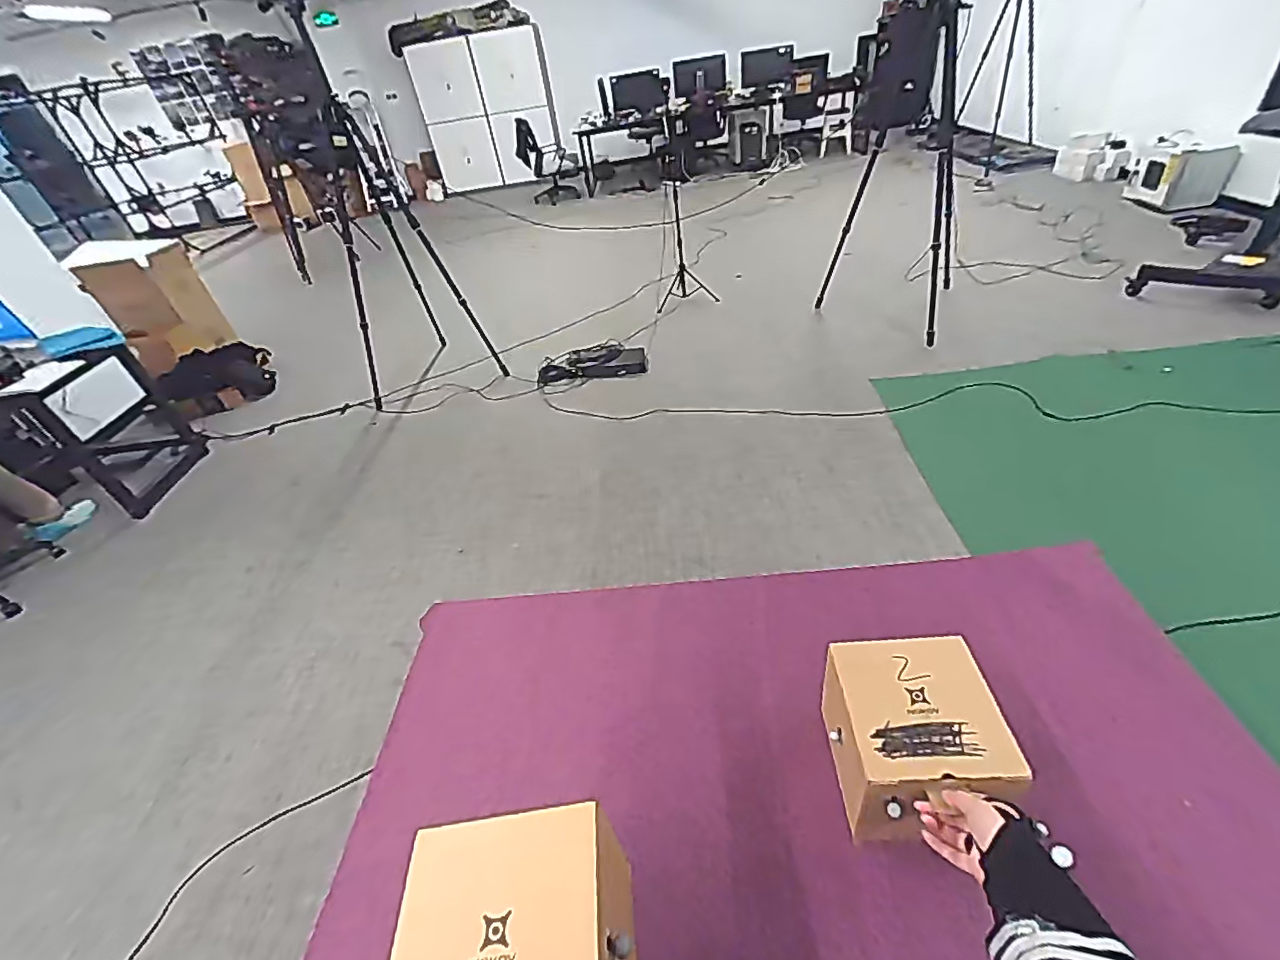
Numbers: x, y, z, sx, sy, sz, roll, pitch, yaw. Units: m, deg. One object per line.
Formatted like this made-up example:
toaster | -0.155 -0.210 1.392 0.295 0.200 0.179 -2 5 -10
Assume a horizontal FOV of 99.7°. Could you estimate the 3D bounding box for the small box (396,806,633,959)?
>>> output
small box | -0.100 0.425 0.477 0.168 0.176 0.179 -11 38 2
